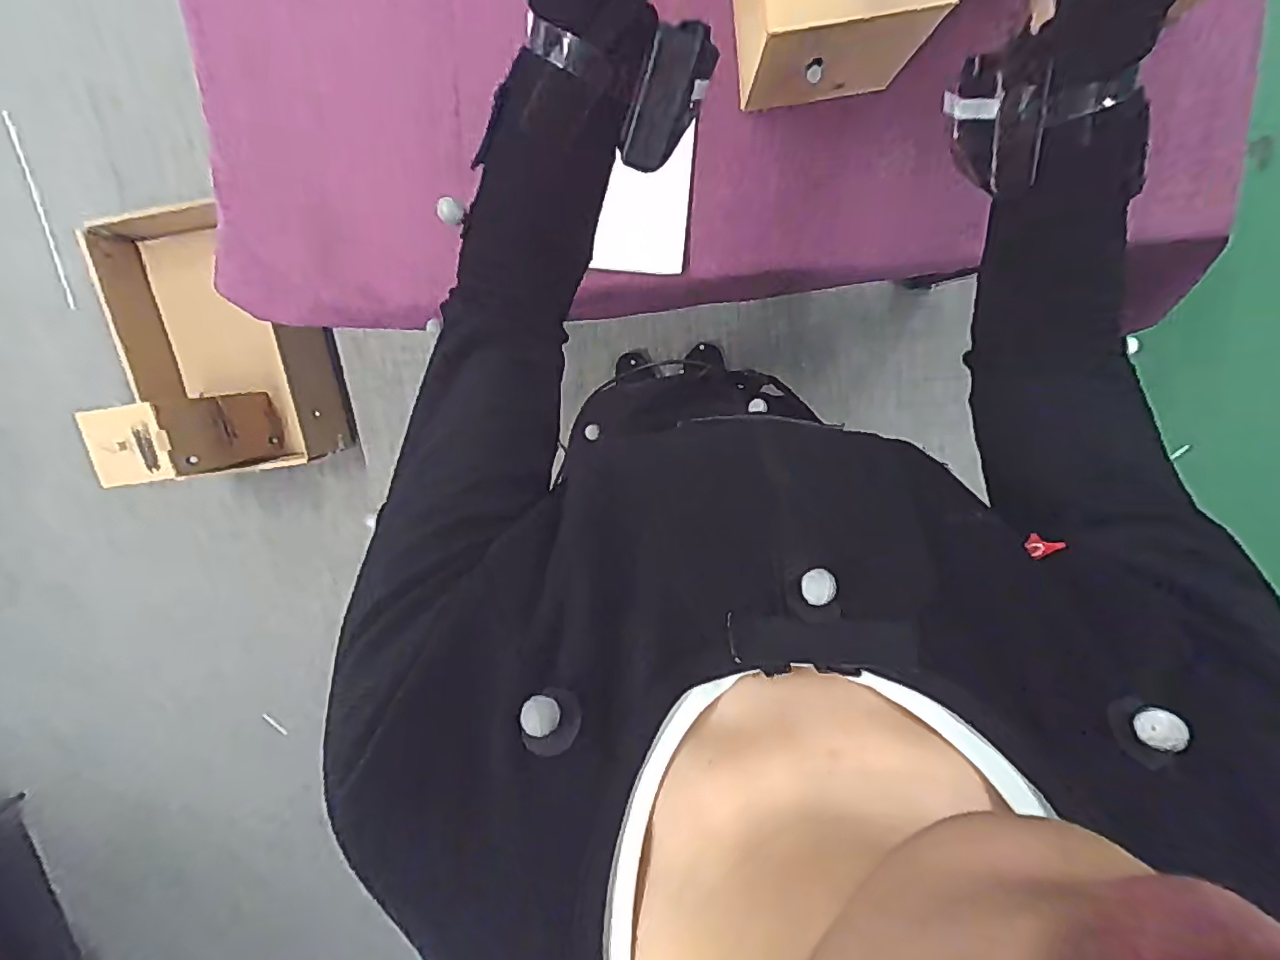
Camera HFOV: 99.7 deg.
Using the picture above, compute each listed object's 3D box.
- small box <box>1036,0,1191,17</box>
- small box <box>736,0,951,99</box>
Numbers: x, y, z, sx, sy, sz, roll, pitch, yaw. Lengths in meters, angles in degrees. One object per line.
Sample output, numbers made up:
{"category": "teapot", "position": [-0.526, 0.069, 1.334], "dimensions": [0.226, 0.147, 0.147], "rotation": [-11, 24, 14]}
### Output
{"category": "small box", "position": [0.500, -0.567, 0.494], "dimensions": [0.168, 0.176, 0.179], "rotation": [-4, 103, 3]}
{"category": "small box", "position": [0.187, -0.505, 0.527], "dimensions": [0.168, 0.176, 0.179], "rotation": [-6, 103, 5]}
